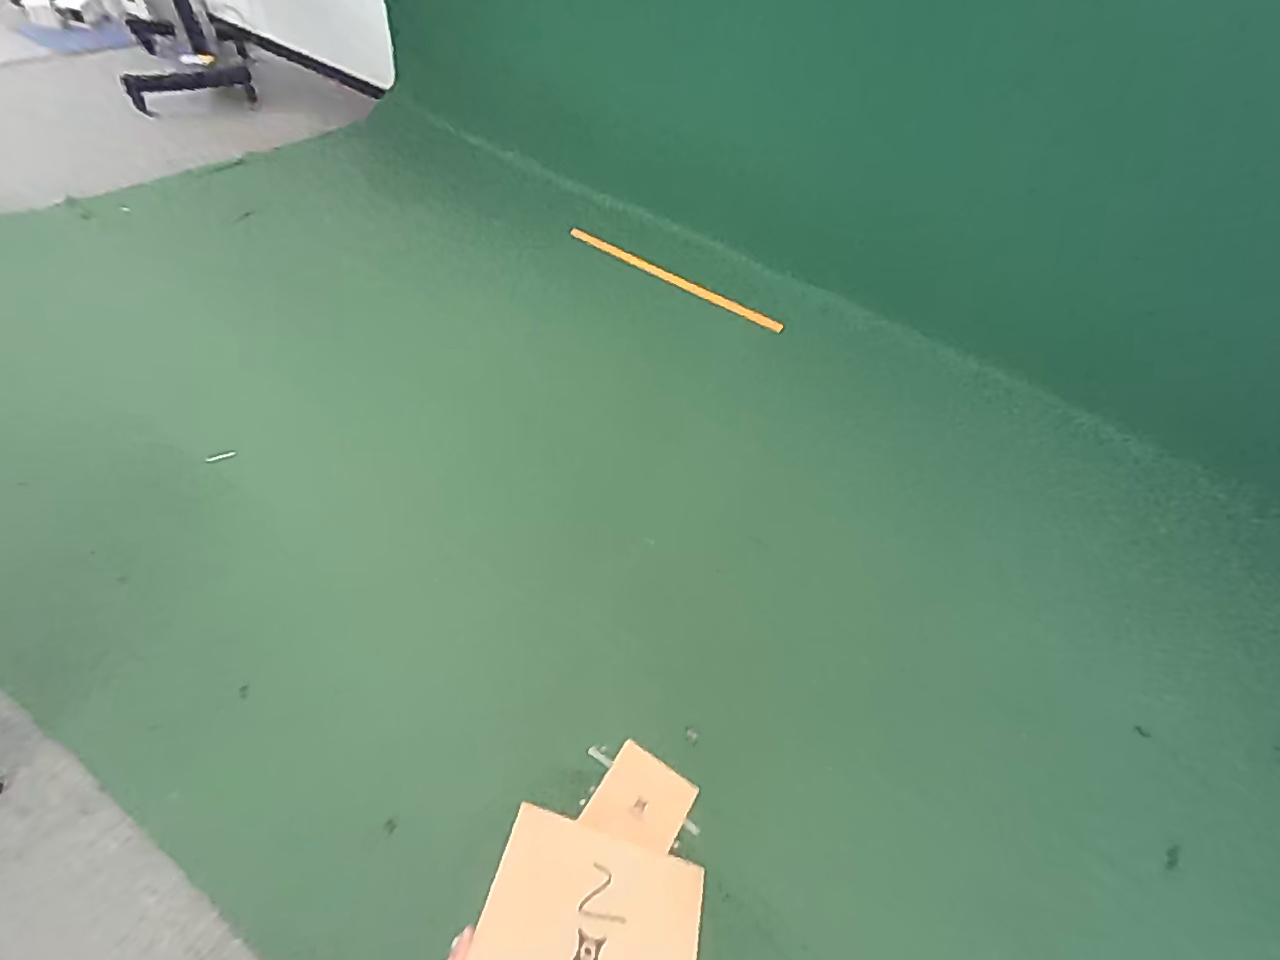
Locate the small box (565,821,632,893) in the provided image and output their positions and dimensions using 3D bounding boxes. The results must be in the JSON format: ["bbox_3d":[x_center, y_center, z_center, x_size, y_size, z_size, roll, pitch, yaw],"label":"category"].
[{"bbox_3d":[-0.051,0.750,1.171,0.168,0.176,0.179,32,52,15],"label":"small box"}]

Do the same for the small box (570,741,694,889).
[{"bbox_3d":[-0.023,0.649,1.047,0.168,0.176,0.179,31,52,13],"label":"small box"}]
